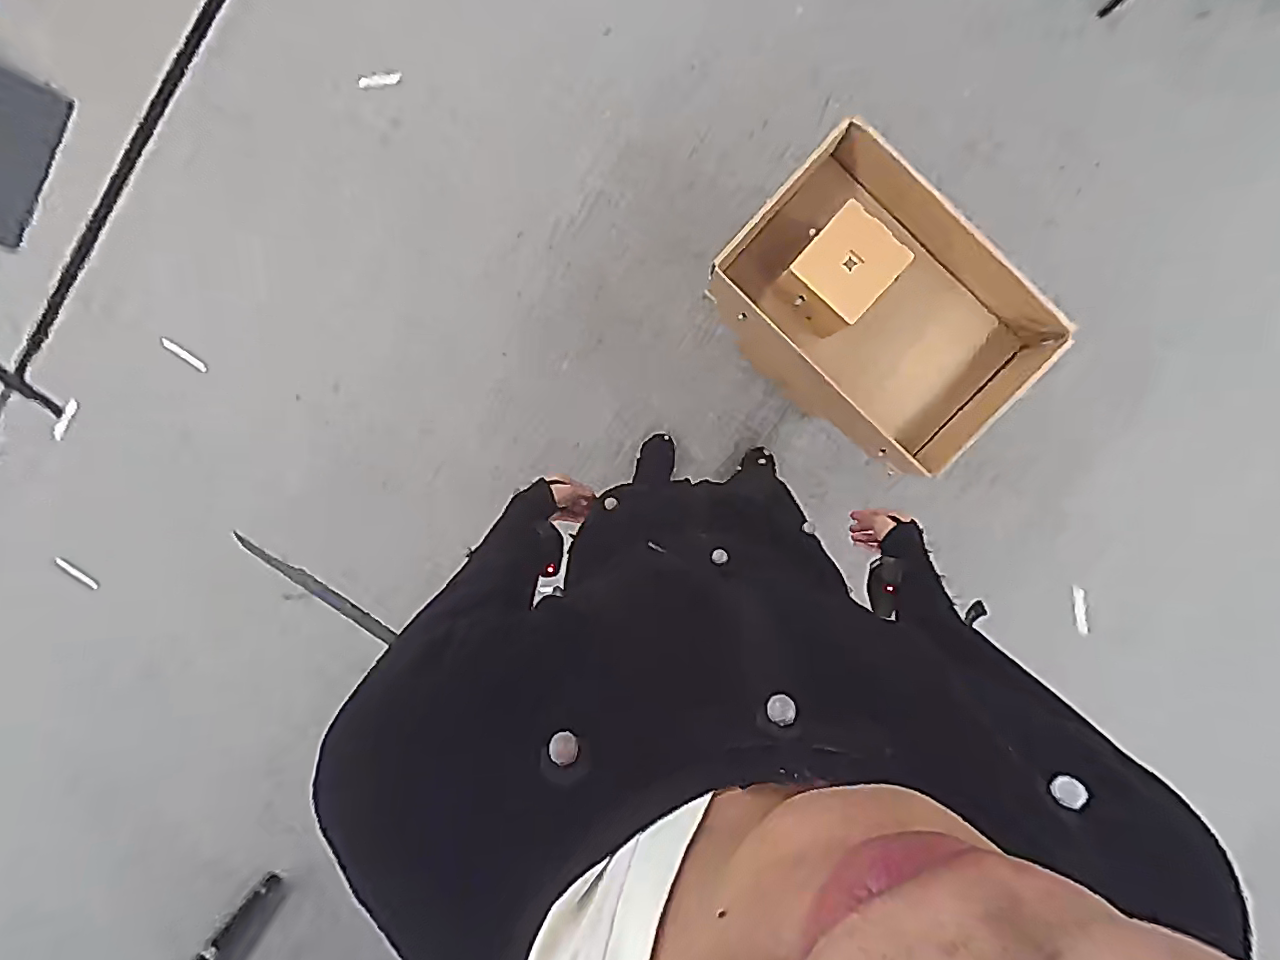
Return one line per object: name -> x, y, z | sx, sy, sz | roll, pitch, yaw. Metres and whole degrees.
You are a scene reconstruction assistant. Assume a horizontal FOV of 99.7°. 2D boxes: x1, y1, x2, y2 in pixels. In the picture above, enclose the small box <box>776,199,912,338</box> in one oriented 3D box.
small box -> 0.396, -0.412, 1.090 | 0.168, 0.176, 0.179 | 42, 94, -2
